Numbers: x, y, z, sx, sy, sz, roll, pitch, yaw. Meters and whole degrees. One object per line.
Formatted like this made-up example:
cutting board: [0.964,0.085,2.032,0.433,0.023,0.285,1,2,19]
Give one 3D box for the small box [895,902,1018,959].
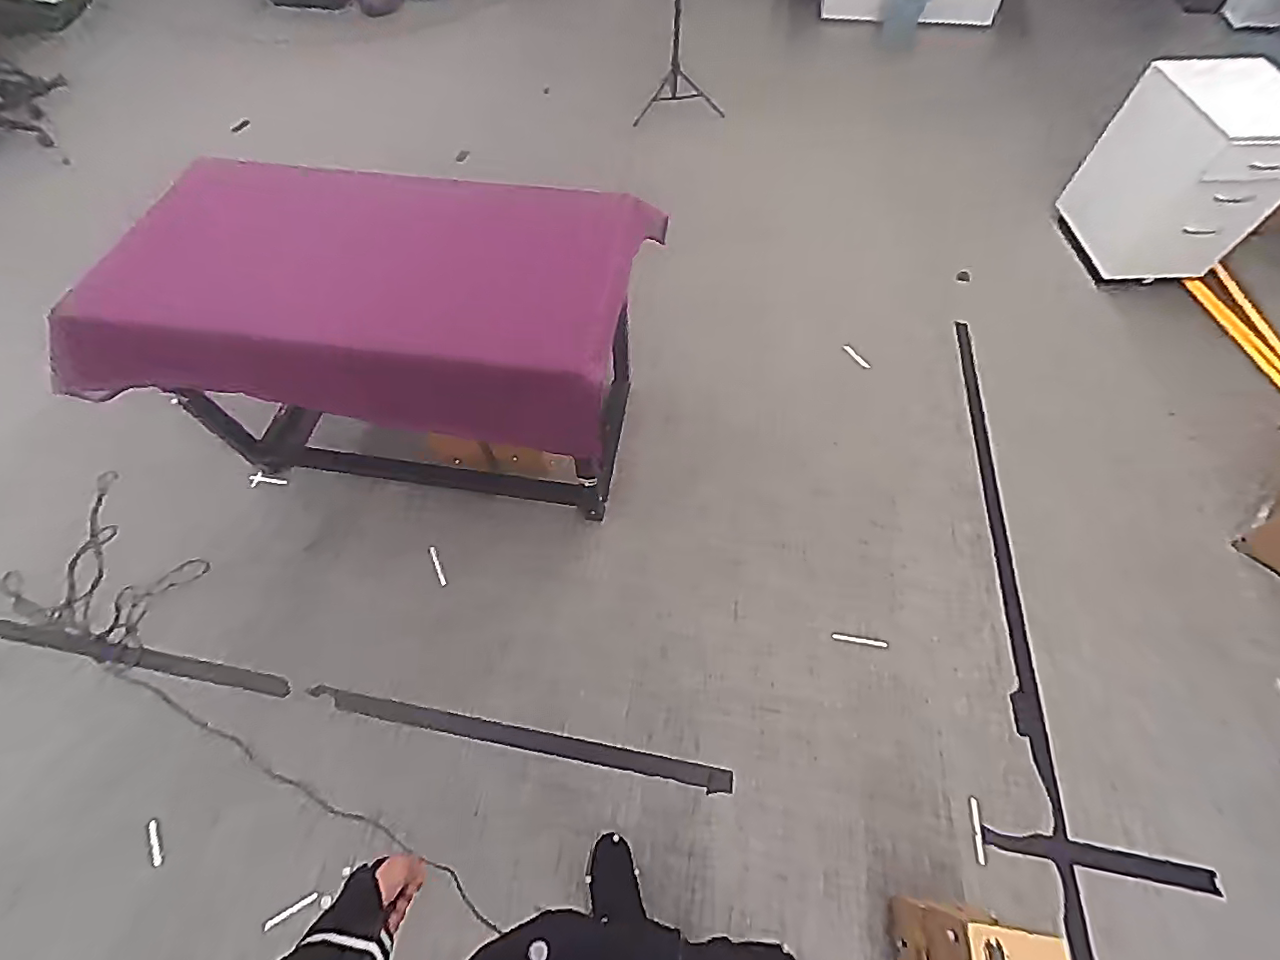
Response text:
small box: [0.659,1.004,1.126,0.179,0.176,0.168,5,60,5]
